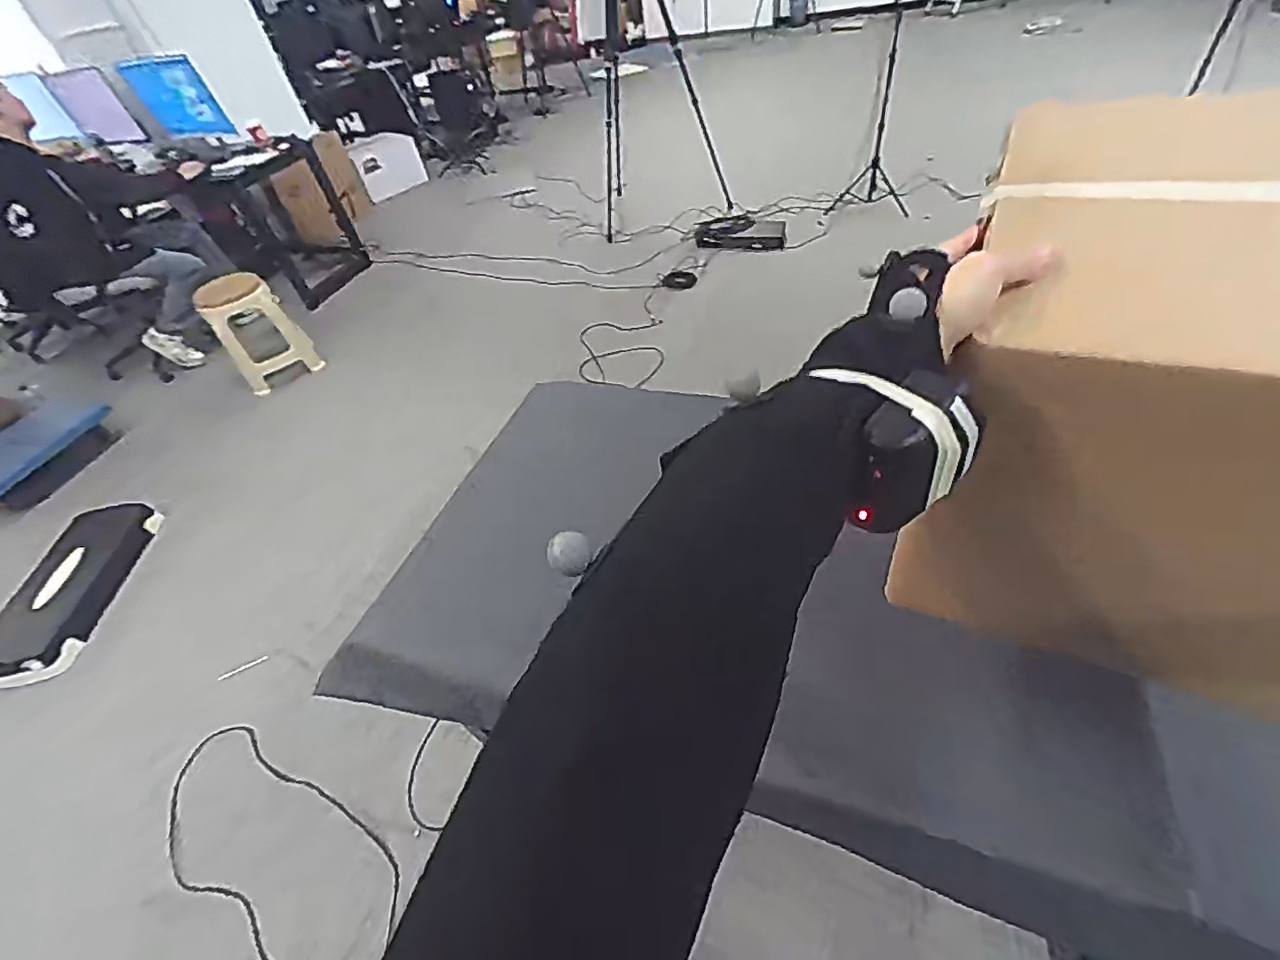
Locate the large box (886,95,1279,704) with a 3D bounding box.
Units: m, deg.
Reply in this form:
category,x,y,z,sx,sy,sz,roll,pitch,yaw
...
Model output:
category,x,y,z,sx,sy,sz,roll,pitch,yaw
large box,0.441,-0.055,0.400,0.408,0.320,0.320,15,58,24
